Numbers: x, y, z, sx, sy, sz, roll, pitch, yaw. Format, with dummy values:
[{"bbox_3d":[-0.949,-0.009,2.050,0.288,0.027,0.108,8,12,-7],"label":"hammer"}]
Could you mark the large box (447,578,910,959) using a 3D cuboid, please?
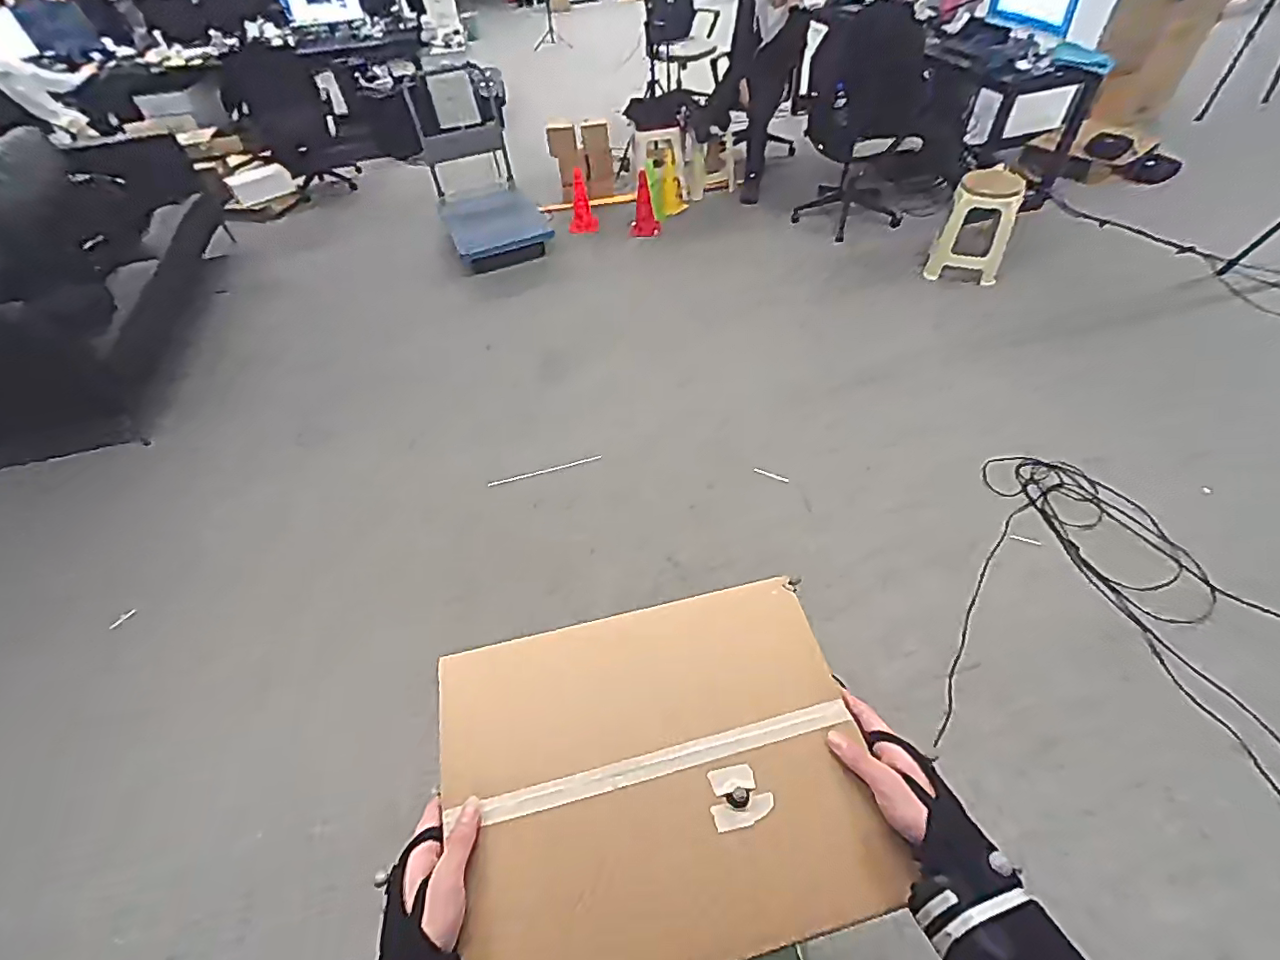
[{"bbox_3d":[0.015,0.366,0.657,0.408,0.320,0.320,-11,55,-8],"label":"large box"}]
